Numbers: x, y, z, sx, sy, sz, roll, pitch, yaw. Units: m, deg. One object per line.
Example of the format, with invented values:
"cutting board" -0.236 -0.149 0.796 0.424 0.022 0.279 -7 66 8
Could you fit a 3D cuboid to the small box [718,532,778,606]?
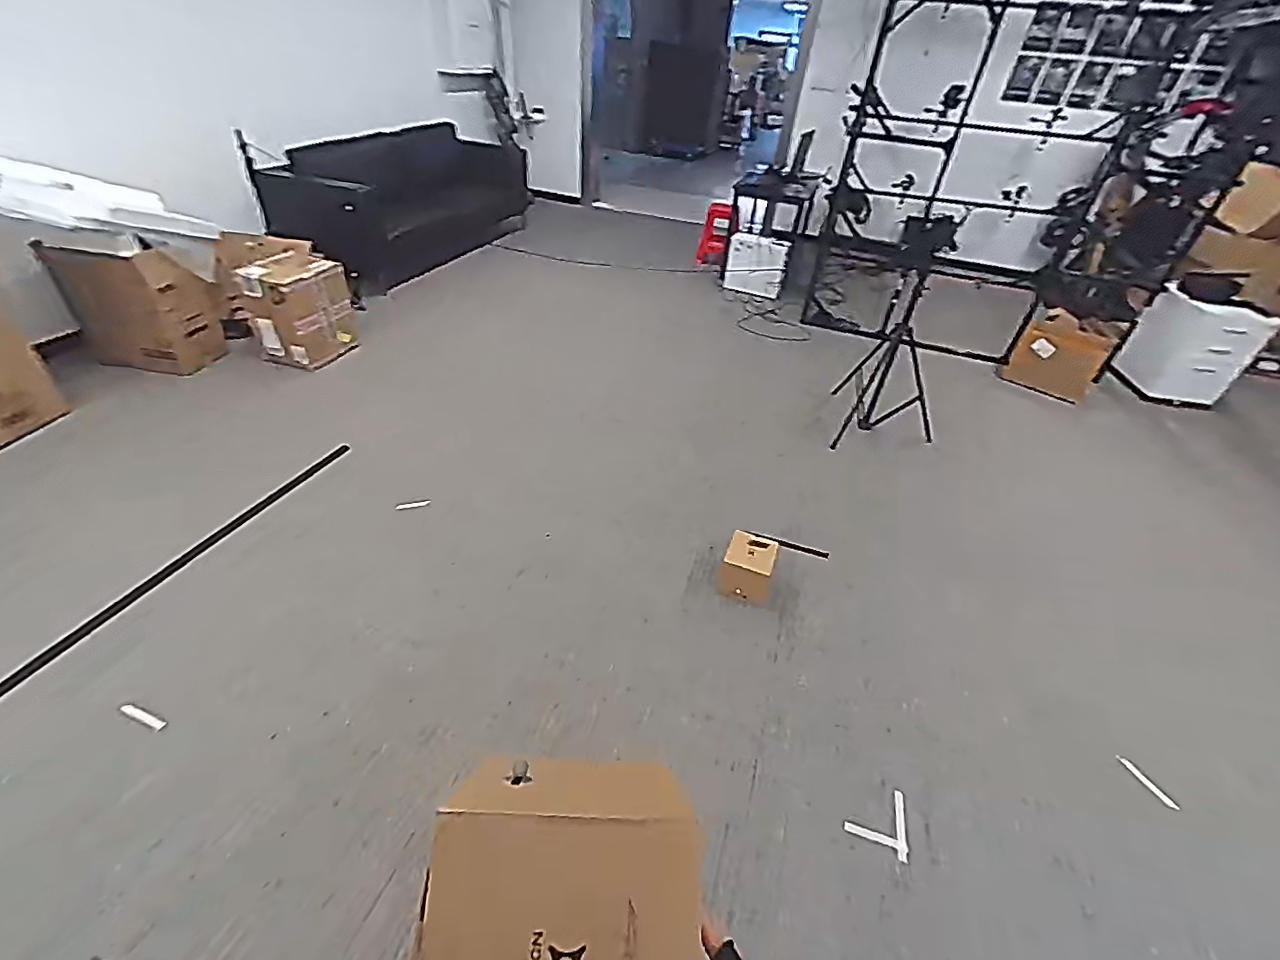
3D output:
"small box" 0.394 0.325 1.985 0.168 0.176 0.179 16 41 14
